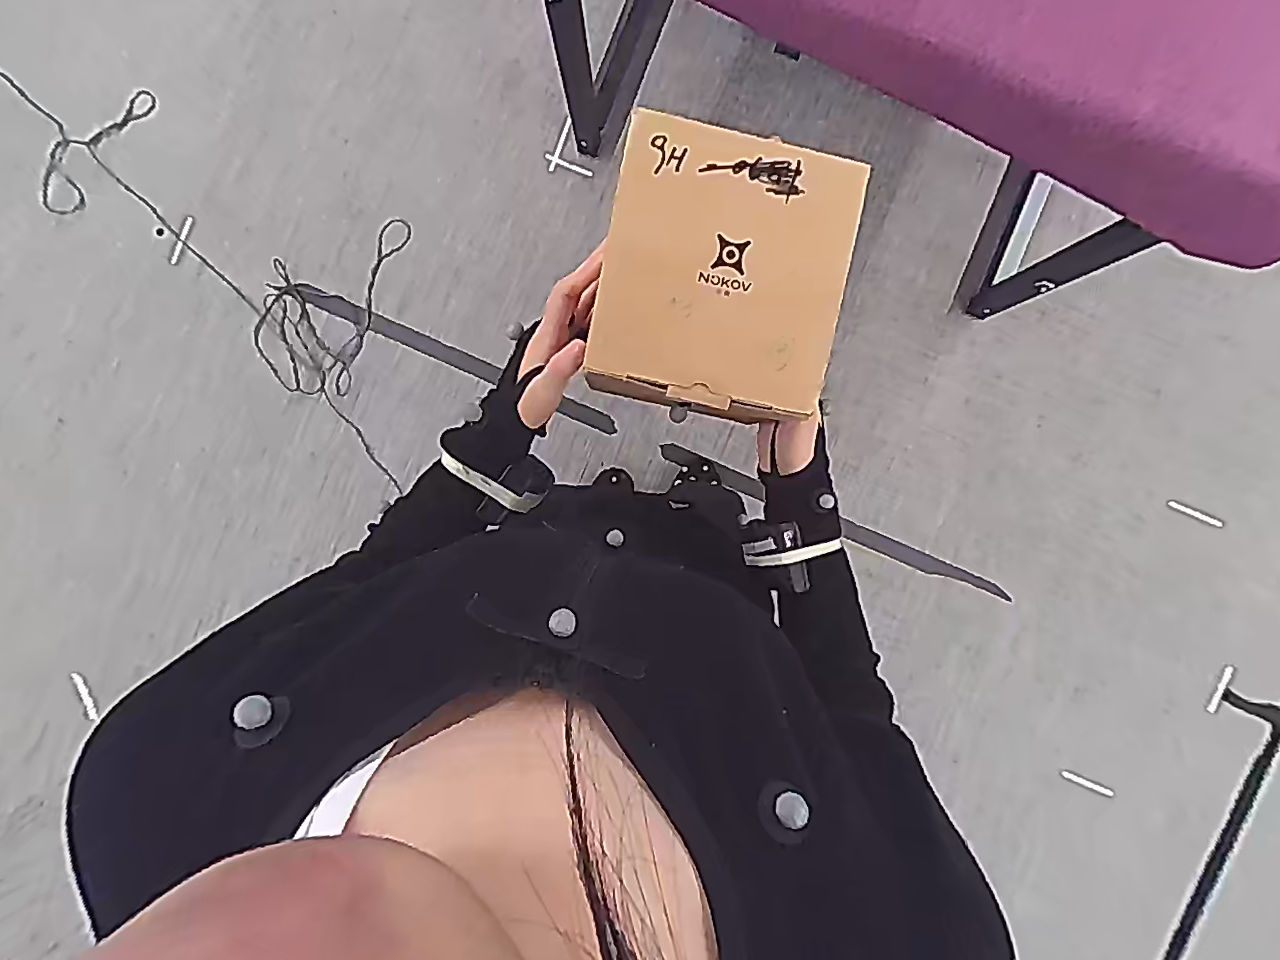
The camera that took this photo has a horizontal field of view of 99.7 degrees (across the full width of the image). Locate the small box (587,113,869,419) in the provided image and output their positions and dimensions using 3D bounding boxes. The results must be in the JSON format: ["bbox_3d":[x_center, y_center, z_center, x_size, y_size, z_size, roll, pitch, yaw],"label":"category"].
[{"bbox_3d":[0.056,-0.152,0.450,0.168,0.176,0.179,11,95,-4],"label":"small box"}]
